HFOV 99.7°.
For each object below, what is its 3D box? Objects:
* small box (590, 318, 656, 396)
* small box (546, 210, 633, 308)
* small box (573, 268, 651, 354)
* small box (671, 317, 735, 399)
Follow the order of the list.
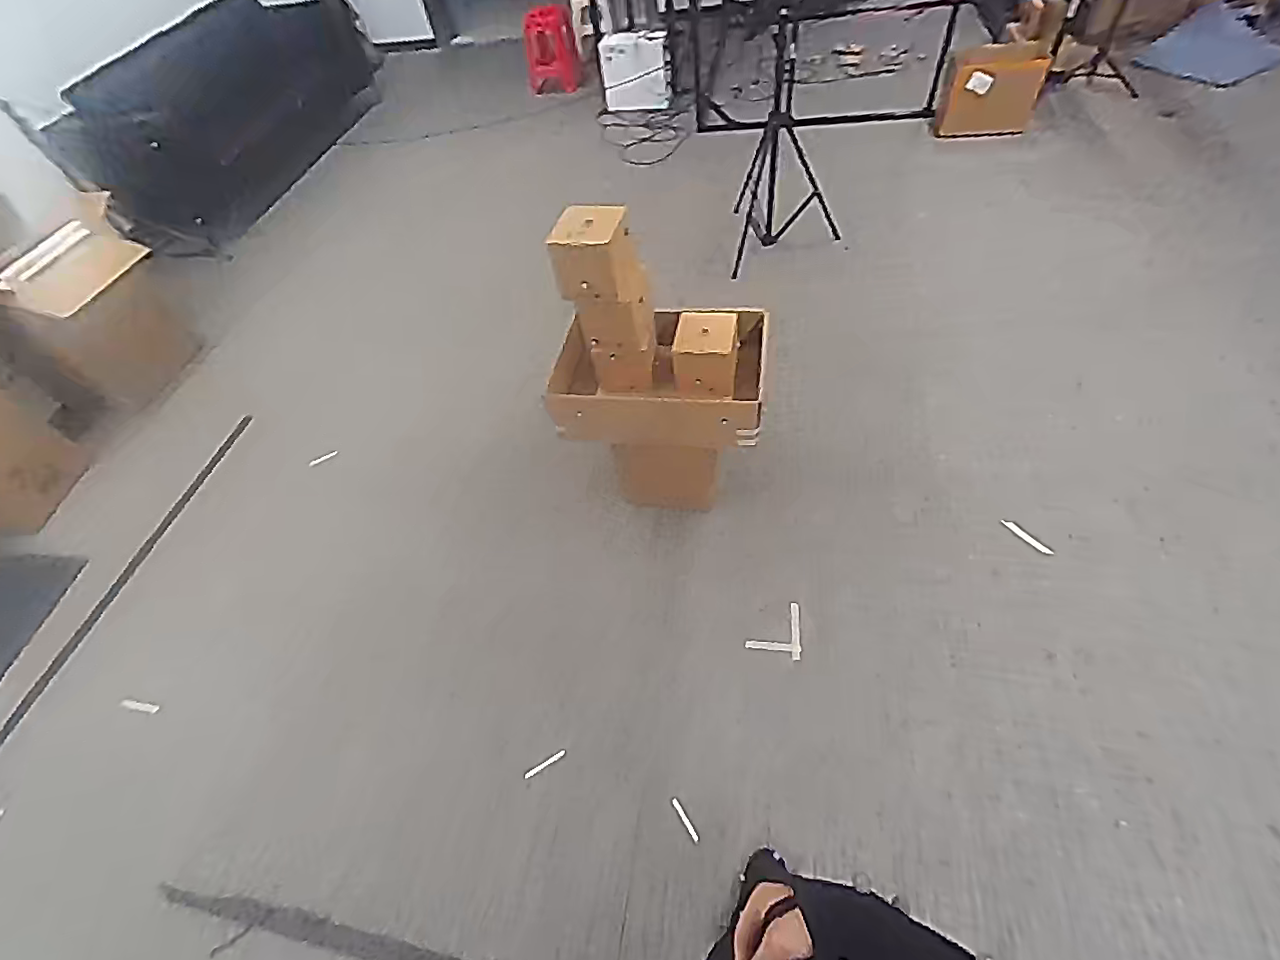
[{"bbox_3d":[-0.045,-0.381,1.664,0.168,0.176,0.179,1,53,11],"label":"small box"},{"bbox_3d":[-0.122,-0.577,1.410,0.168,0.176,0.179,8,56,15],"label":"small box"},{"bbox_3d":[-0.071,-0.479,1.535,0.168,0.176,0.179,7,55,14],"label":"small box"},{"bbox_3d":[0.193,-0.365,1.614,0.168,0.176,0.179,5,56,14],"label":"small box"}]
